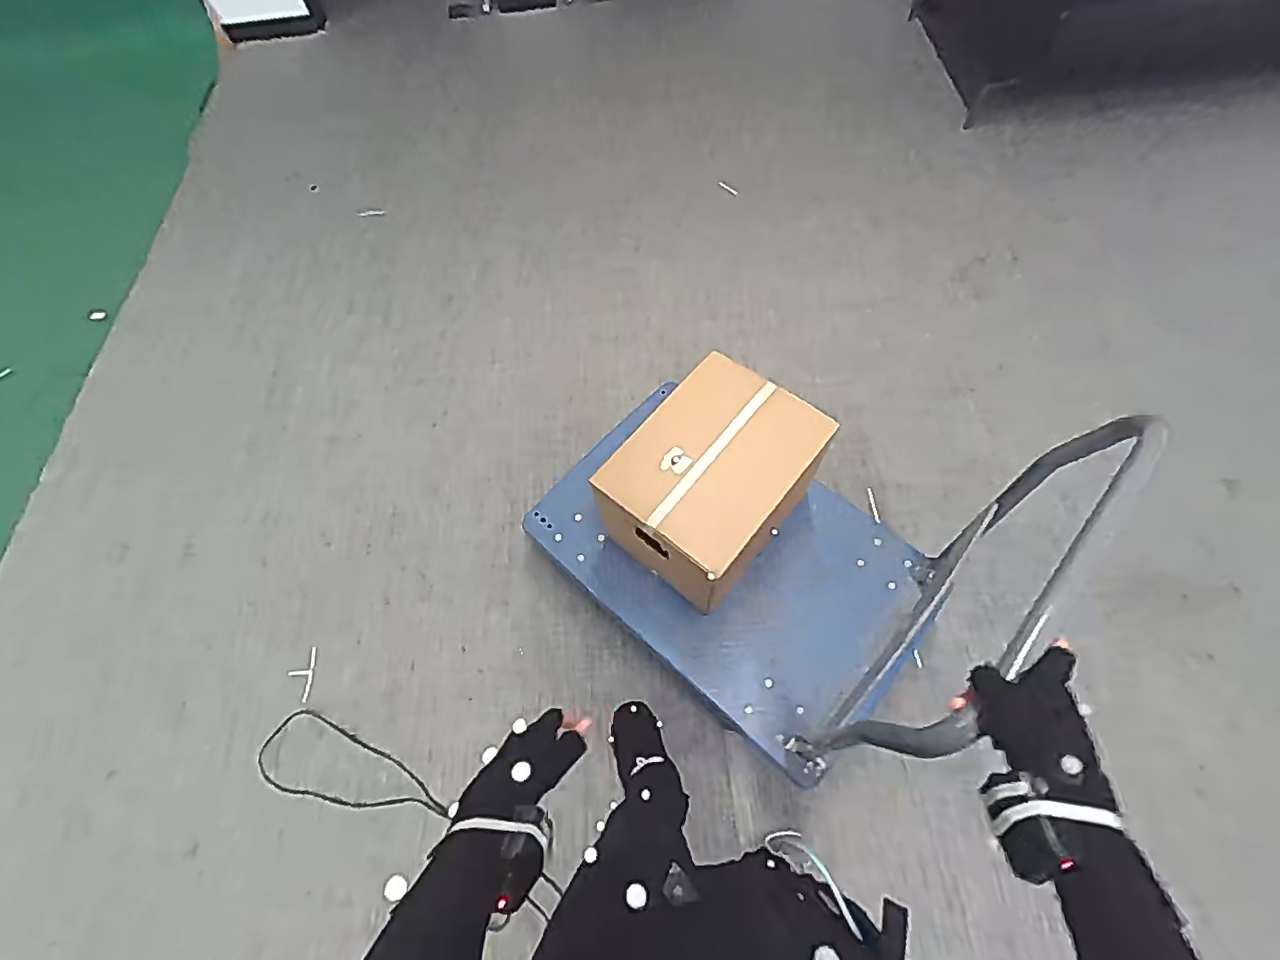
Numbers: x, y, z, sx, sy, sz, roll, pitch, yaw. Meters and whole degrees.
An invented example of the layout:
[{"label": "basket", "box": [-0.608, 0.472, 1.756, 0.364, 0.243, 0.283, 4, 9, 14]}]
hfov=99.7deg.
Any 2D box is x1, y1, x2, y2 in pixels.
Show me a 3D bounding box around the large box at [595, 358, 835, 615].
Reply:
[{"label": "large box", "box": [0.161, 0.022, 1.192, 0.320, 0.320, 0.408, 35, 72, 20]}]
